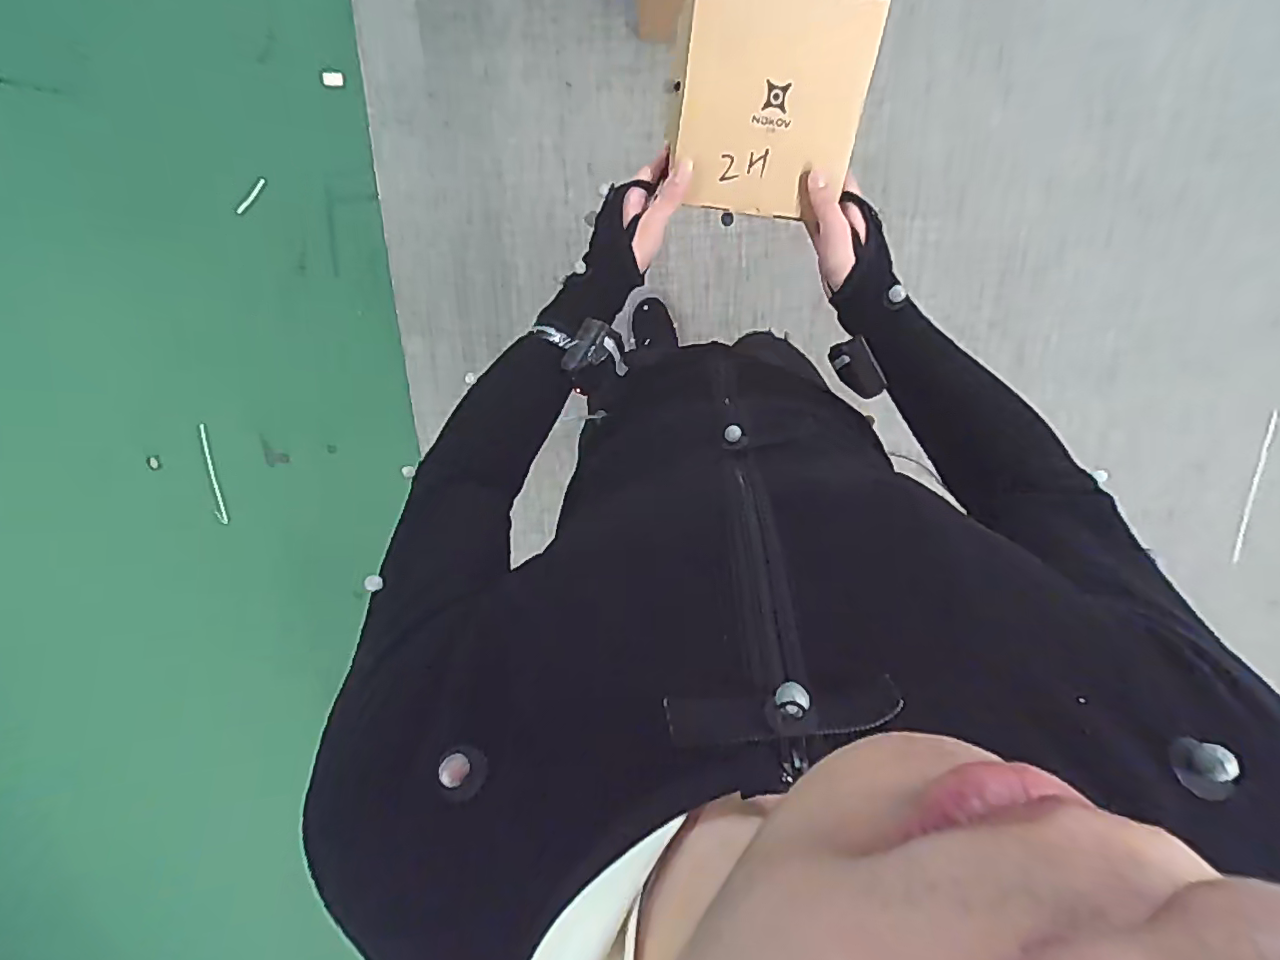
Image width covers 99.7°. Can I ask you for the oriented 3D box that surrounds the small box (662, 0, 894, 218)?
[{"bbox_3d":[0.118,-0.378,0.550,0.168,0.176,0.179,6,119,-5],"label":"small box"}]
